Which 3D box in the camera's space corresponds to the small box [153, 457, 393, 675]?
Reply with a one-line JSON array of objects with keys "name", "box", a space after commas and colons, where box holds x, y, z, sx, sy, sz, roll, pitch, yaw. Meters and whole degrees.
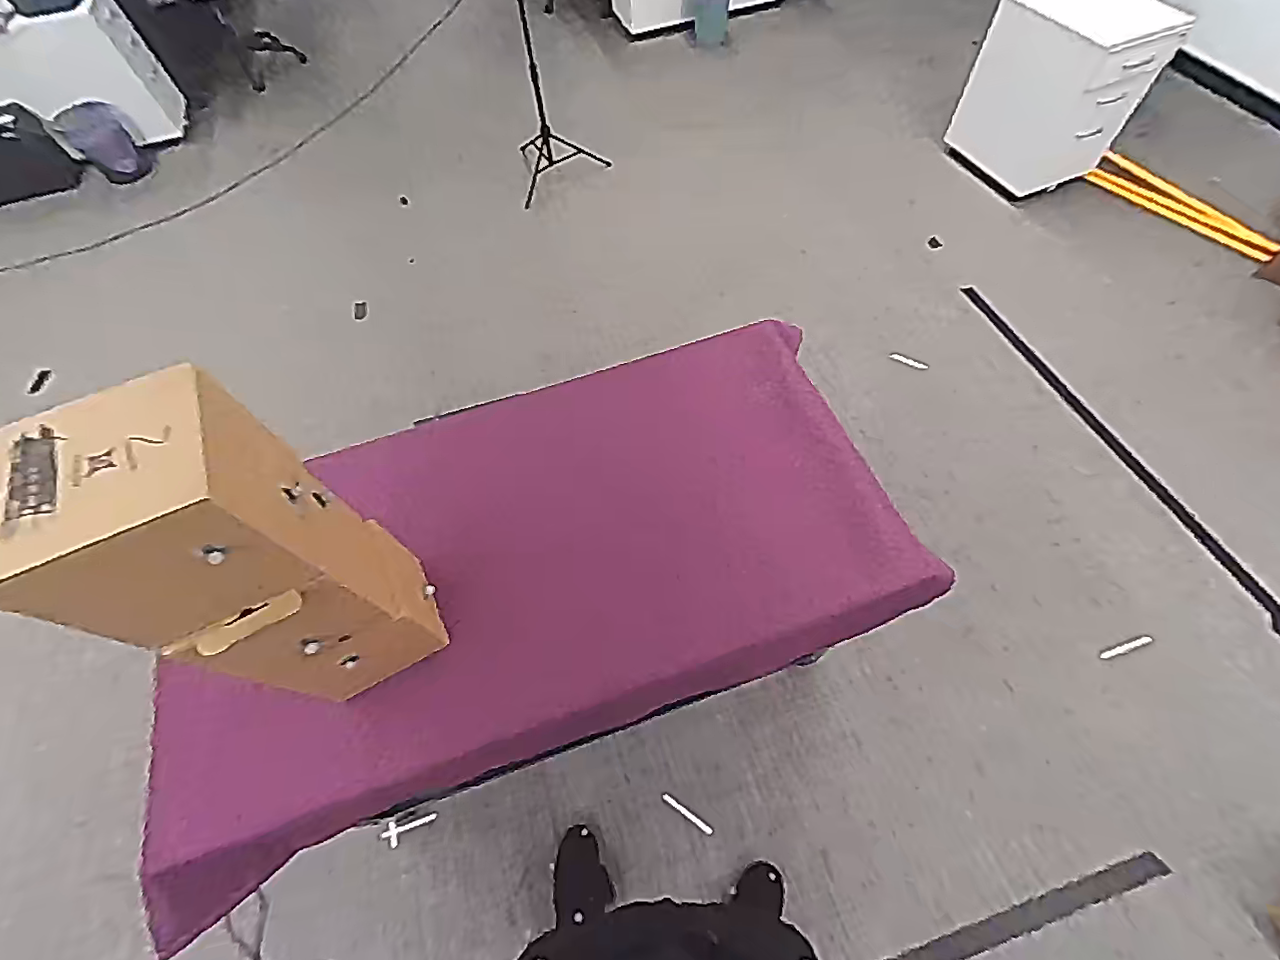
[{"name": "small box", "box": [-0.433, 0.110, 0.657, 0.168, 0.176, 0.179, -28, 63, -11]}]

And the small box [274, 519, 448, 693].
[{"name": "small box", "box": [-0.414, 0.192, 0.799, 0.179, 0.176, 0.168, -26, 63, -12]}]

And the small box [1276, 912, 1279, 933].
[{"name": "small box", "box": [1.471, 0.969, 1.087, 0.179, 0.176, 0.168, -14, 61, -5]}]
